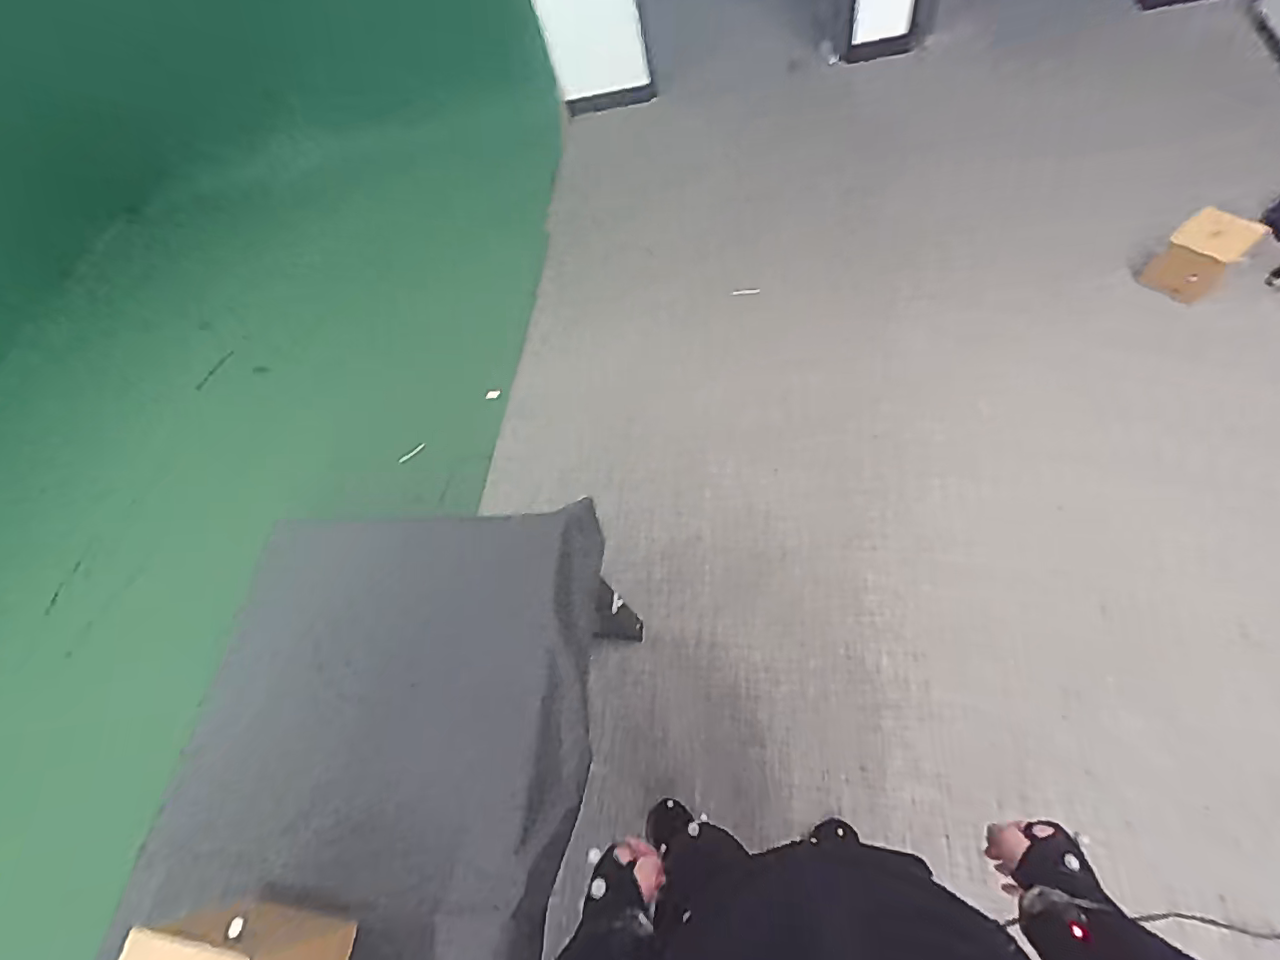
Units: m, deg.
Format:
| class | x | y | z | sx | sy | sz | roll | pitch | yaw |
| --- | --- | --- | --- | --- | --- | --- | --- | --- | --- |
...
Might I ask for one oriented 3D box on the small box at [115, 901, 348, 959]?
| class | x | y | z | sx | sy | sz | roll | pitch | yaw |
| --- | --- | --- | --- | --- | --- | --- | --- | --- | --- |
| small box | -0.477 | 0.608 | 0.616 | 0.179 | 0.176 | 0.168 | -1 | 62 | 14 |
